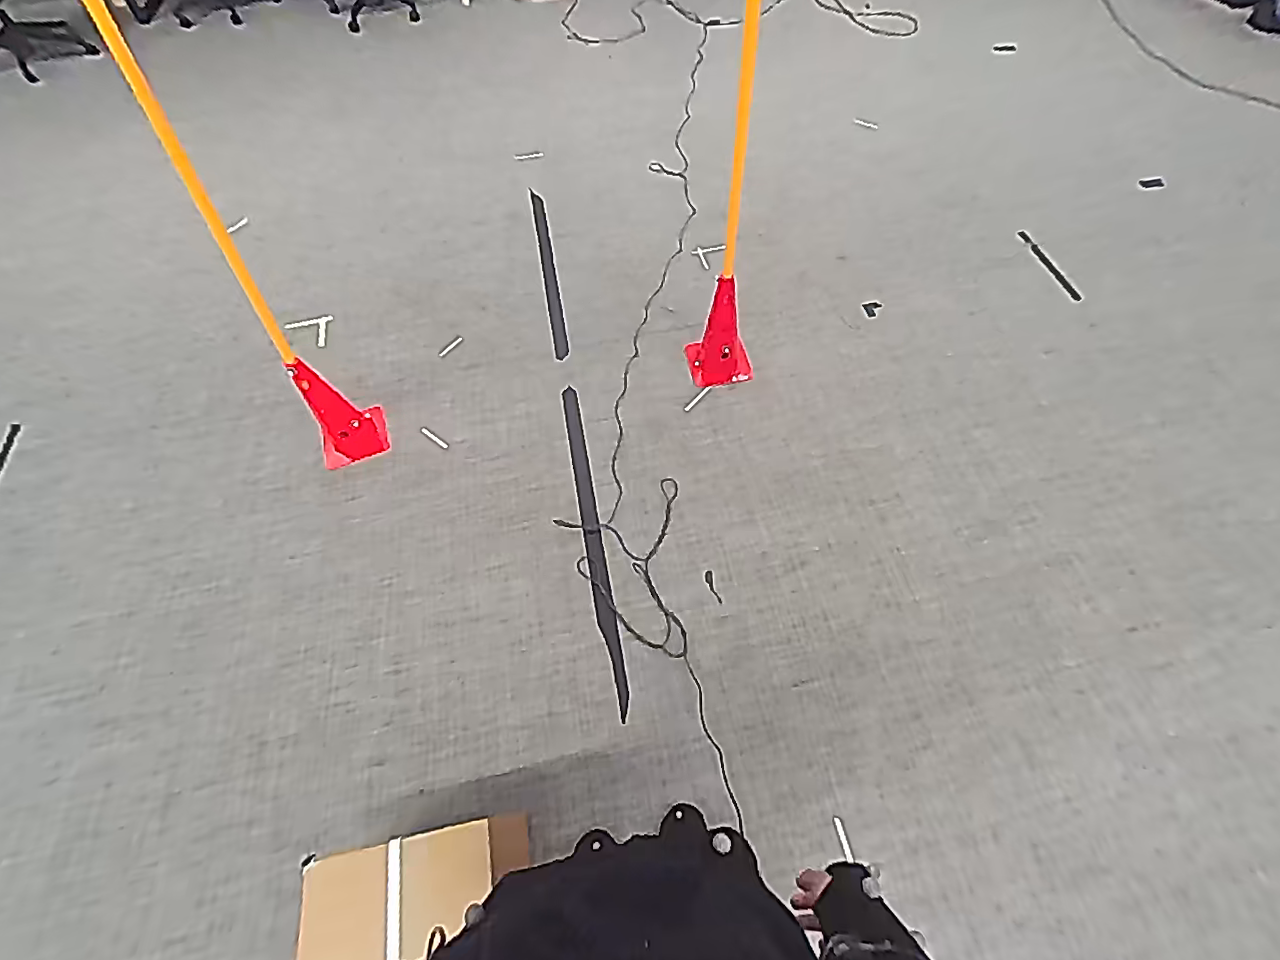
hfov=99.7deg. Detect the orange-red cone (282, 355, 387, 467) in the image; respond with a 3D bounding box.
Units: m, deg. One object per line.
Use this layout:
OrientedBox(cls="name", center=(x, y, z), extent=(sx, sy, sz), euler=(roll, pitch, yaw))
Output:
OrientedBox(cls="orange-red cone", center=(-0.921, -0.227, 1.578), extent=(0.199, 0.360, 0.198), euler=(-19, 60, -7))
